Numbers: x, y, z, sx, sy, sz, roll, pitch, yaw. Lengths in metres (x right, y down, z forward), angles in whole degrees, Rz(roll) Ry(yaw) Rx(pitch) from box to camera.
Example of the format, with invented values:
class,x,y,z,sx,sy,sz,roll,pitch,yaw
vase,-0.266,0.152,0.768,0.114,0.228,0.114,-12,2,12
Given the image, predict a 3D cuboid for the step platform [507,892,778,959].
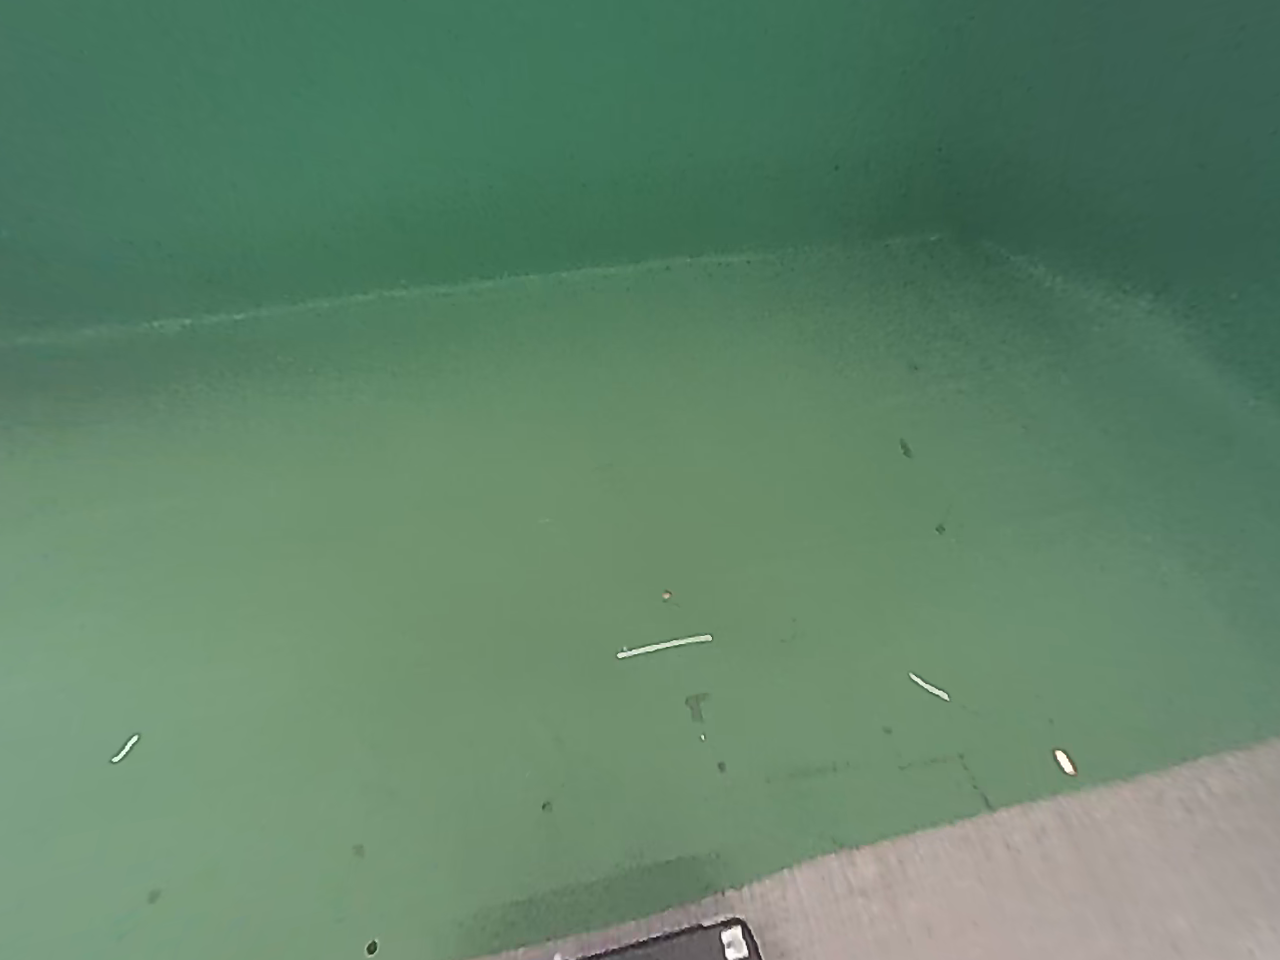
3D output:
class,x,y,z,sx,sy,sz,roll,pitch,yaw
step platform,-0.079,0.995,0.966,0.684,0.204,0.286,-10,51,-7
